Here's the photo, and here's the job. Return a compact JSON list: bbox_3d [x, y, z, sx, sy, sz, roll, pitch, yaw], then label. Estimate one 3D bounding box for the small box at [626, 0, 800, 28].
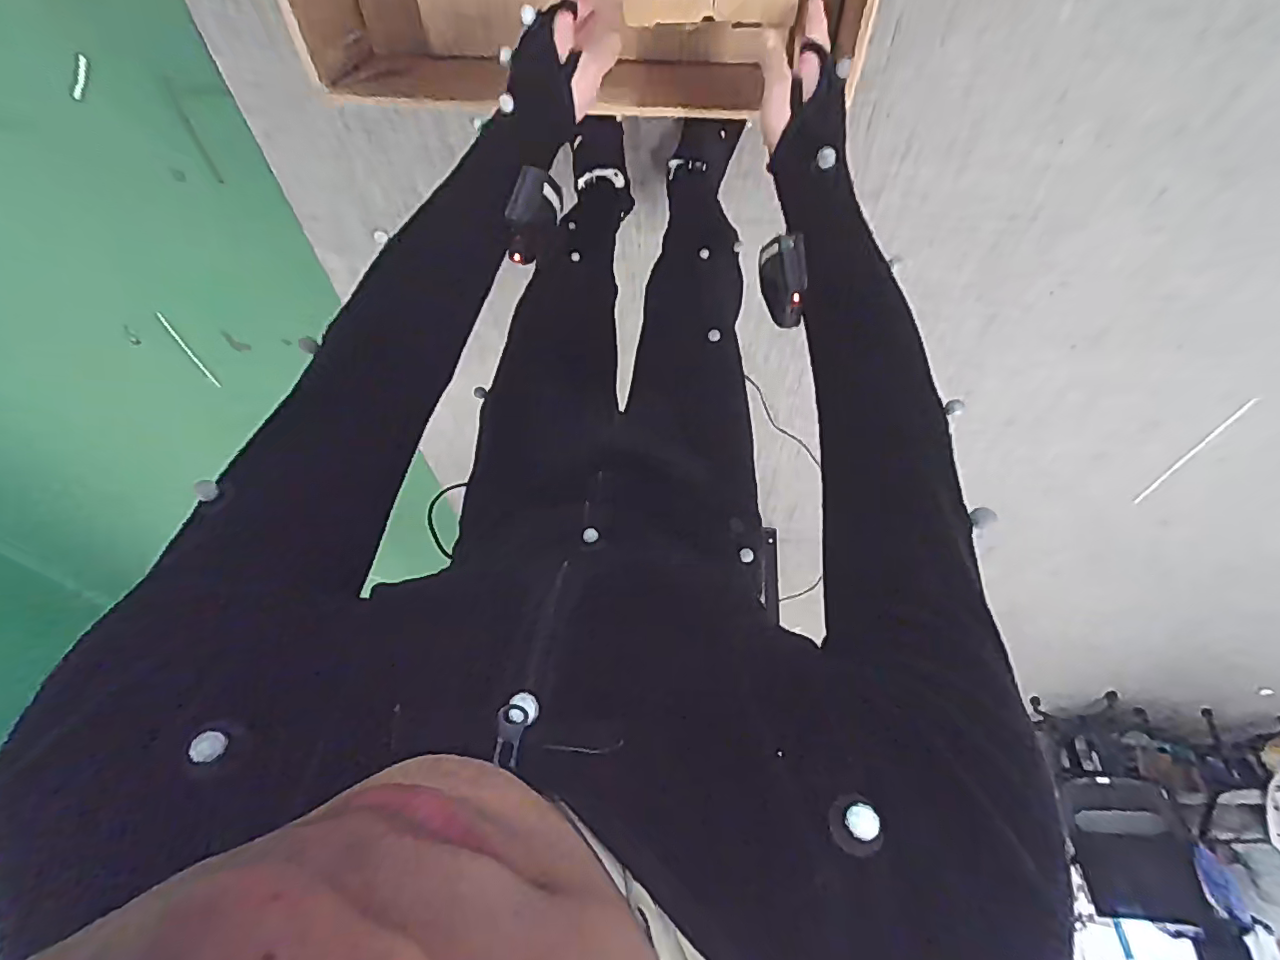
[{"bbox_3d":[0.077,-0.551,0.499,0.168,0.176,0.179,5,141,5],"label":"small box"}]
